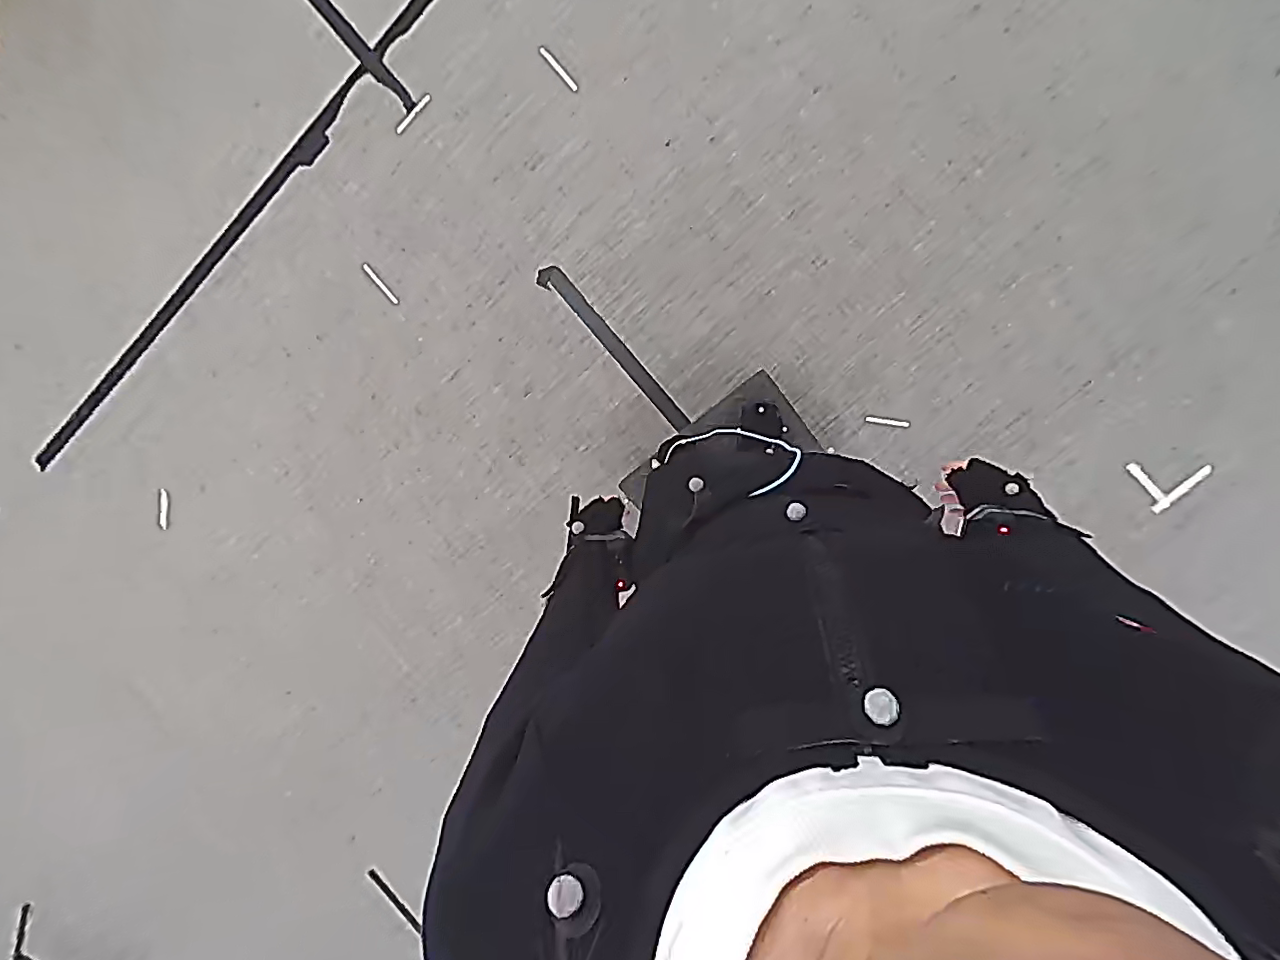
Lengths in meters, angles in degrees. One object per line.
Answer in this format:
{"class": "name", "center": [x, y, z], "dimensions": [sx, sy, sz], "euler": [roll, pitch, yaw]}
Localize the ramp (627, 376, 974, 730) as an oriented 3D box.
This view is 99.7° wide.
{"class": "ramp", "center": [0.469, 0.242, 1.516], "dimensions": [0.509, 0.206, 0.991], "euler": [-42, 90, 8]}
